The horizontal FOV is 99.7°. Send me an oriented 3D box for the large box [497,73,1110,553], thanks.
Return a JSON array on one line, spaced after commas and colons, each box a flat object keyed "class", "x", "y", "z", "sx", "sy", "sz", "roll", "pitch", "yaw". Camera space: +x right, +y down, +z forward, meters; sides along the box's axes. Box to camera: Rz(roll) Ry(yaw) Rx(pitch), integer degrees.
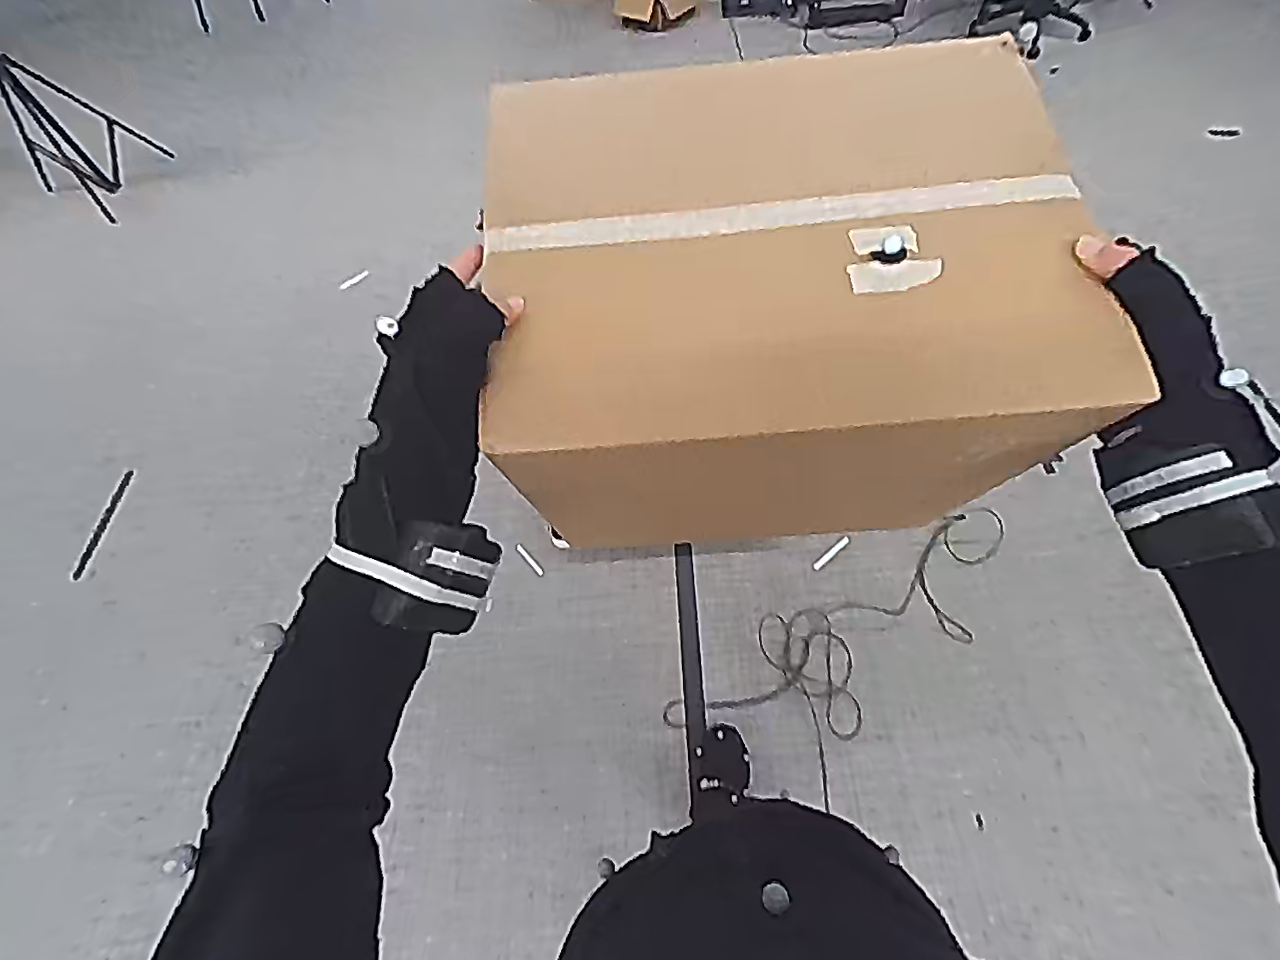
[{"class": "large box", "x": 0.098, "y": -0.124, "z": 0.537, "sx": 0.408, "sy": 0.320, "sz": 0.320, "roll": -5, "pitch": 71, "yaw": 2}]
